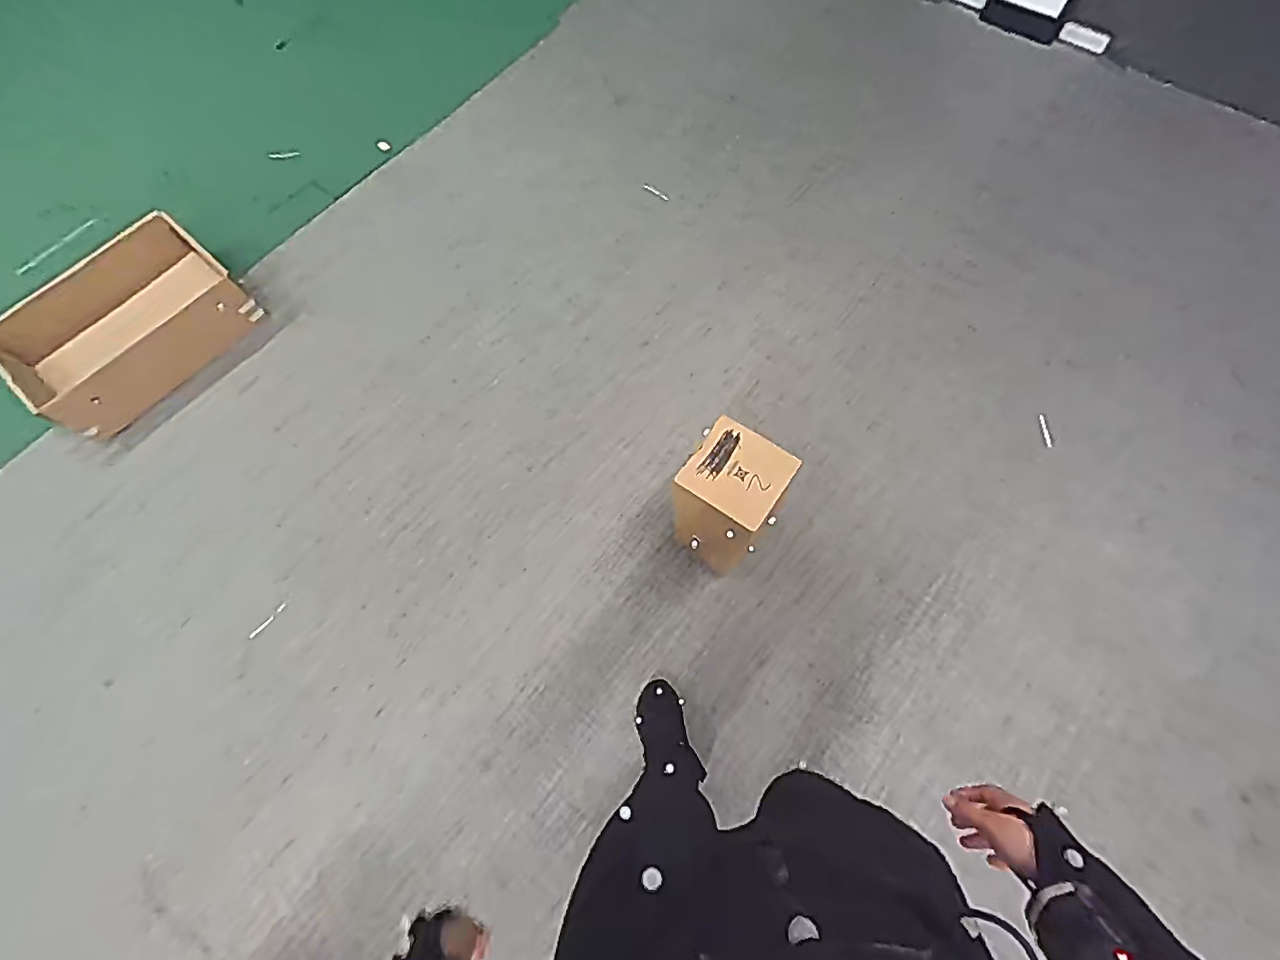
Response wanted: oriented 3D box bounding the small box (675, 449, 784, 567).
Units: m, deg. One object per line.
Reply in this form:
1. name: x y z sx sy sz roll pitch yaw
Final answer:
1. small box: 0.191 0.068 1.207 0.168 0.176 0.179 37 76 17

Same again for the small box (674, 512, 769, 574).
1. small box: 0.200 0.116 1.363 0.179 0.176 0.168 37 75 16
